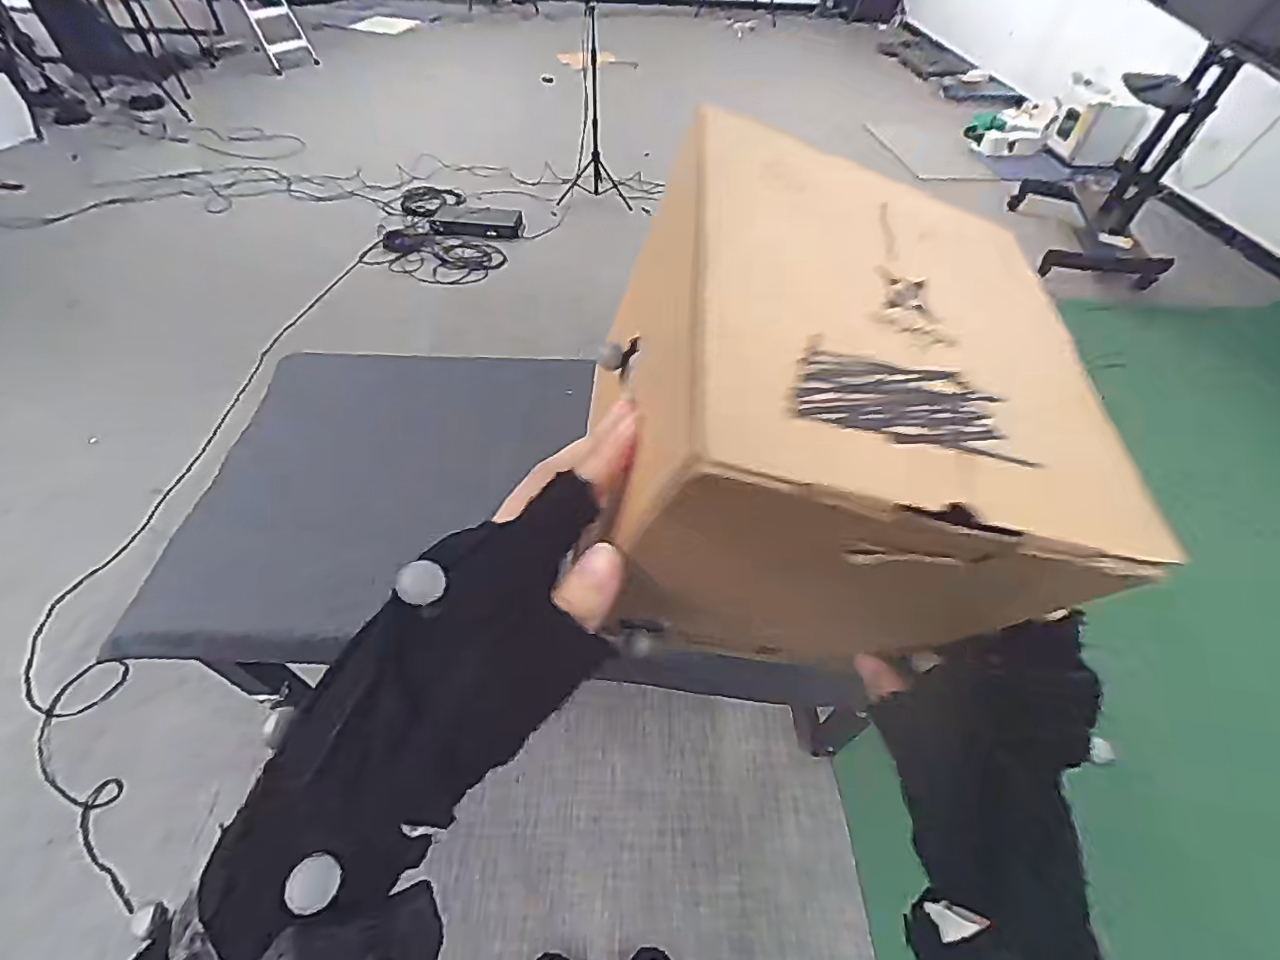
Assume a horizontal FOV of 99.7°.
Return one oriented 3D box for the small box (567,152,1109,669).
[{"bbox_3d":[0.066,-0.014,0.276,0.168,0.176,0.179,14,57,-13],"label":"small box"}]
